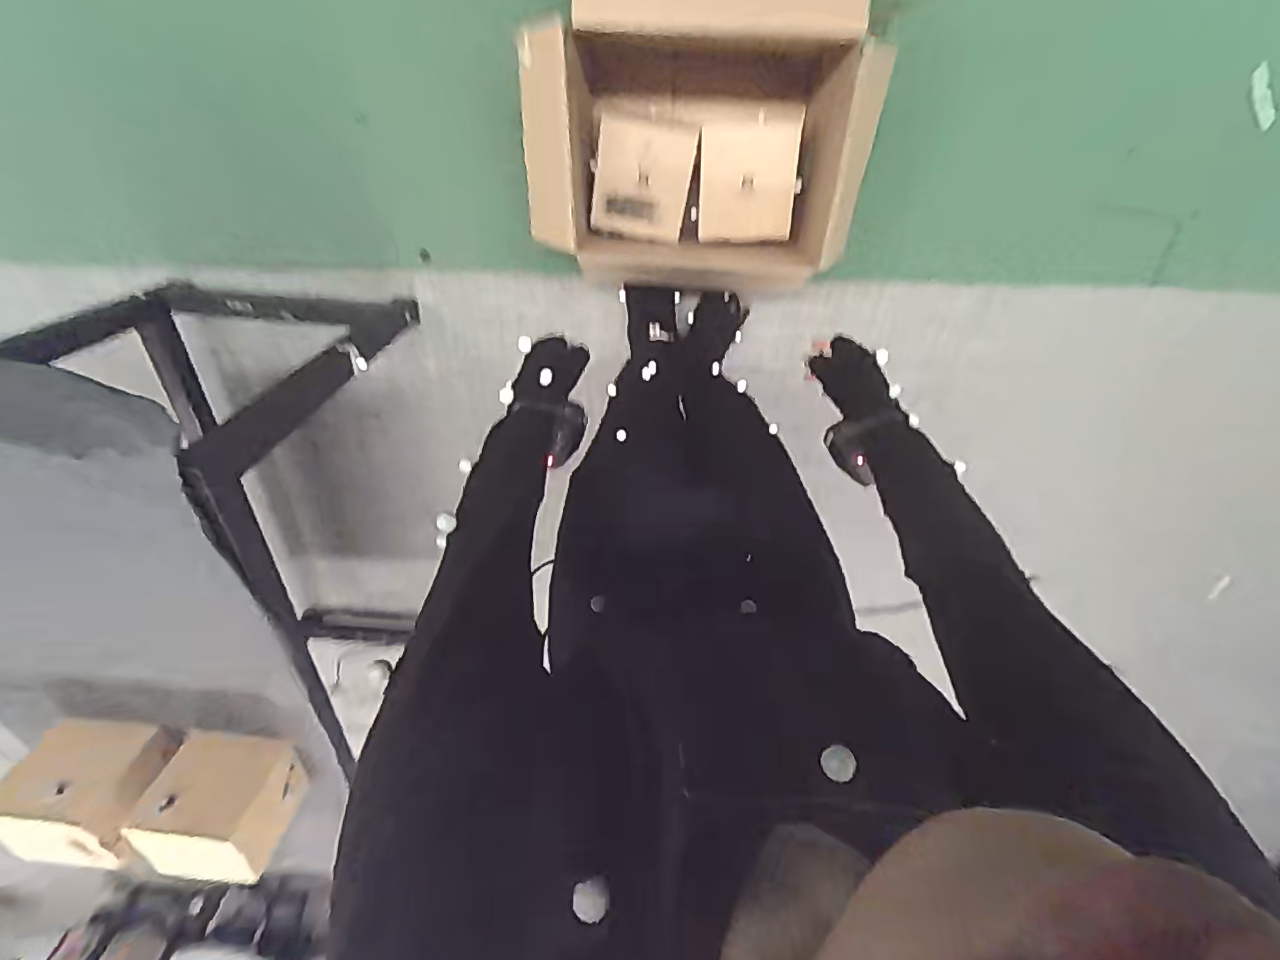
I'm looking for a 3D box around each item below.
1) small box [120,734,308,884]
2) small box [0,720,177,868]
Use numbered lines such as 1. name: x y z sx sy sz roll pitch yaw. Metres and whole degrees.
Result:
1. small box: -0.732 0.574 0.954 0.179 0.176 0.168 7 124 -1
2. small box: -0.958 0.545 0.946 0.179 0.176 0.168 7 124 -2
